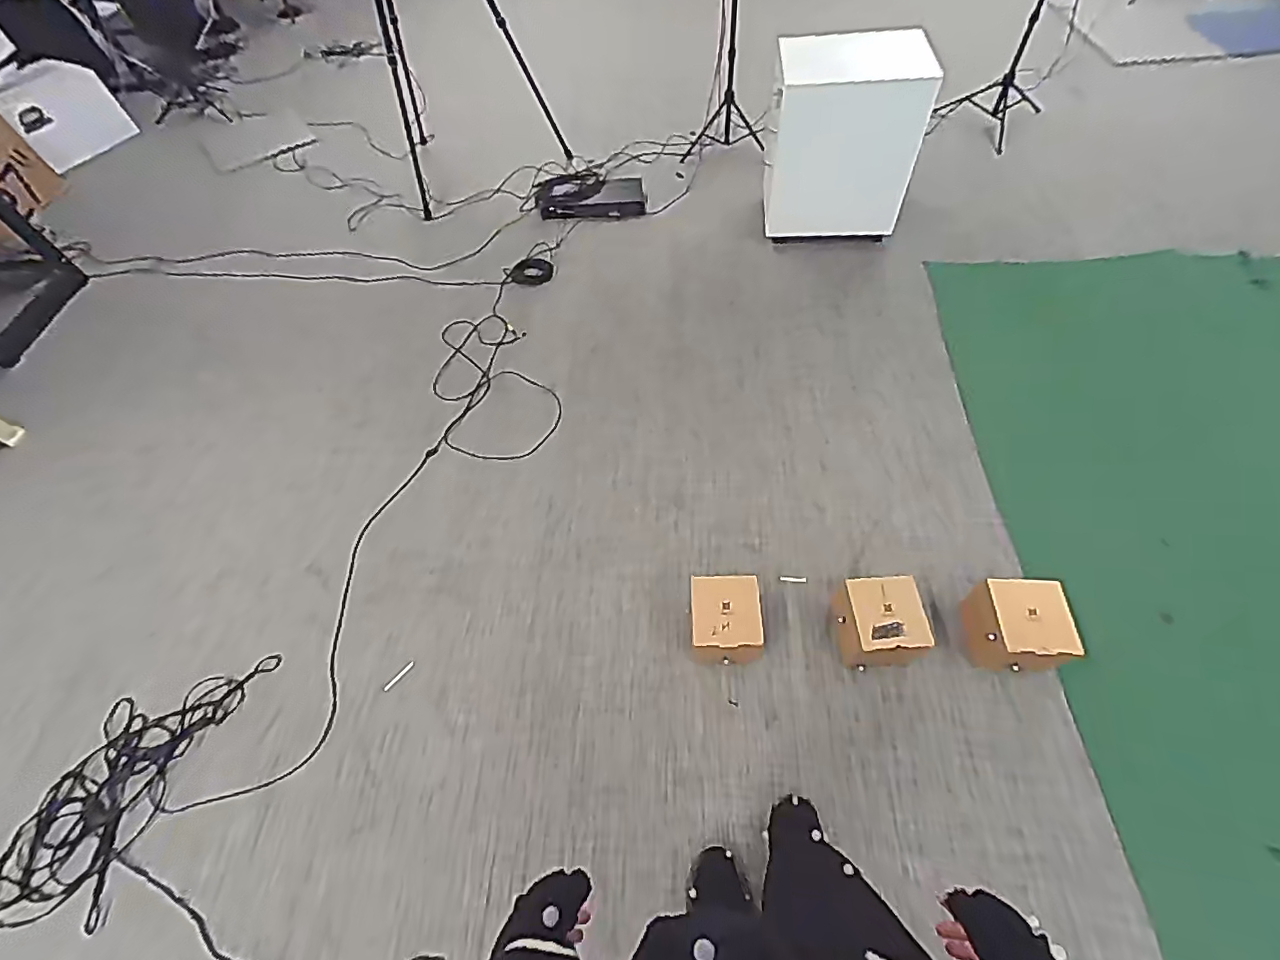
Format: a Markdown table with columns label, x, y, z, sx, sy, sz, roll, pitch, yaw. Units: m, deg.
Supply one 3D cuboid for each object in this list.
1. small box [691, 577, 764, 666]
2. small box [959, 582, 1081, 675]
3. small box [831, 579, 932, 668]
| label | x | y | z | sx | sy | sz | roll | pitch | yaw |
| --- | --- | --- | --- | --- | --- | --- | --- | --- | --- |
| small box | 0.215 | 0.361 | 1.374 | 0.168 | 0.176 | 0.179 | -2 | 57 | 5 |
| small box | 0.912 | 0.364 | 1.320 | 0.168 | 0.176 | 0.179 | 1 | 57 | 6 |
| small box | 0.589 | 0.362 | 1.346 | 0.168 | 0.176 | 0.179 | -3 | 56 | 2 |
